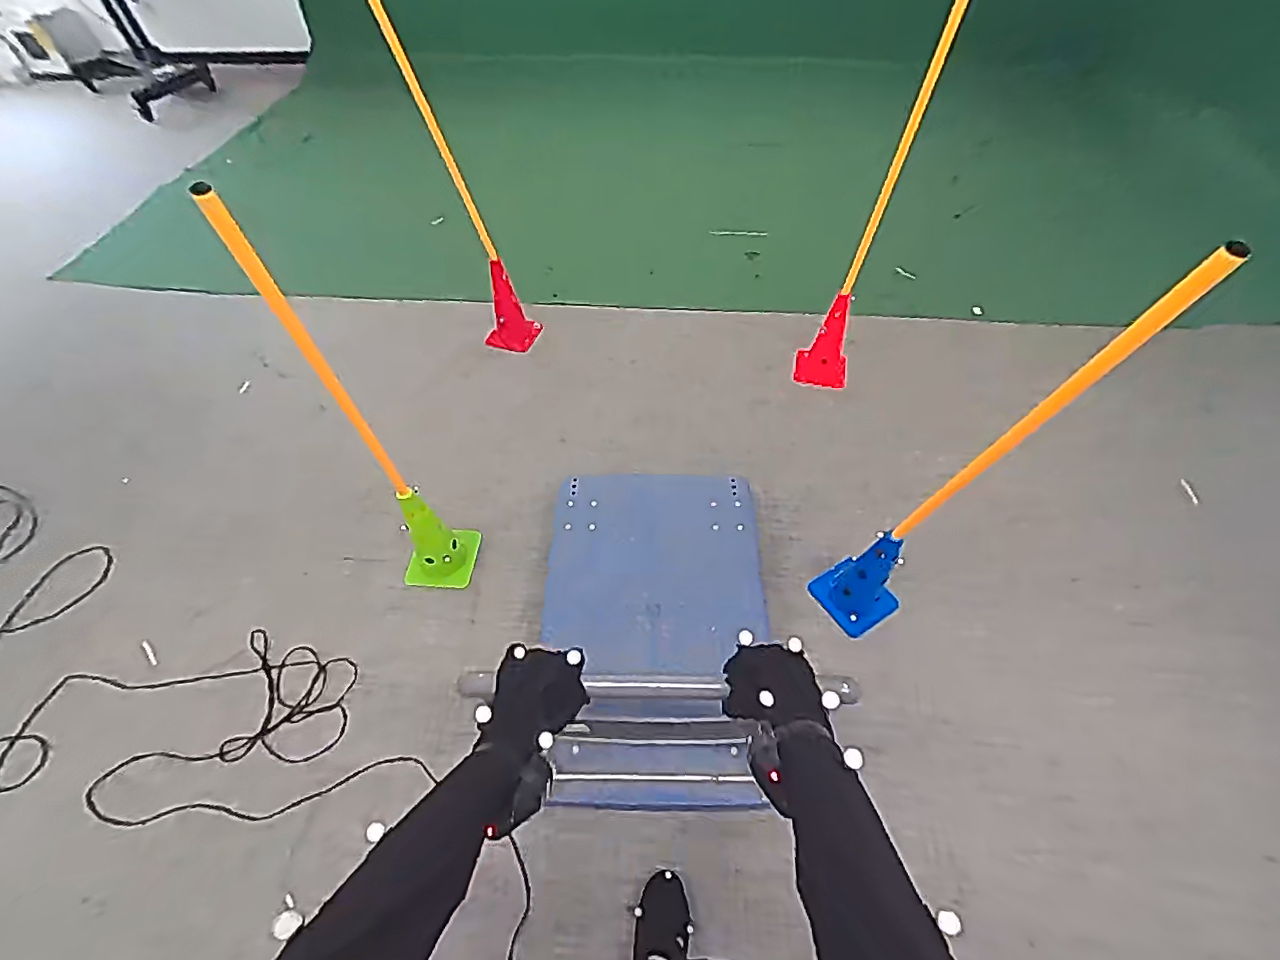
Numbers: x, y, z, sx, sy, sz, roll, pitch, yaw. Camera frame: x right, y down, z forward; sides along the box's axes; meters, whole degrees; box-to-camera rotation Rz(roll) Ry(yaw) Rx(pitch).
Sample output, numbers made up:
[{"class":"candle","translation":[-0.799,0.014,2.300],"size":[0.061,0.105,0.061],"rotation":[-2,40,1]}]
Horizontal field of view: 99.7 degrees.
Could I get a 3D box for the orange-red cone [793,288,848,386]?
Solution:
[{"class":"orange-red cone","translation":[0.717,-0.556,2.035],"size":[0.198,0.360,0.199],"rotation":[12,56,11]}]
